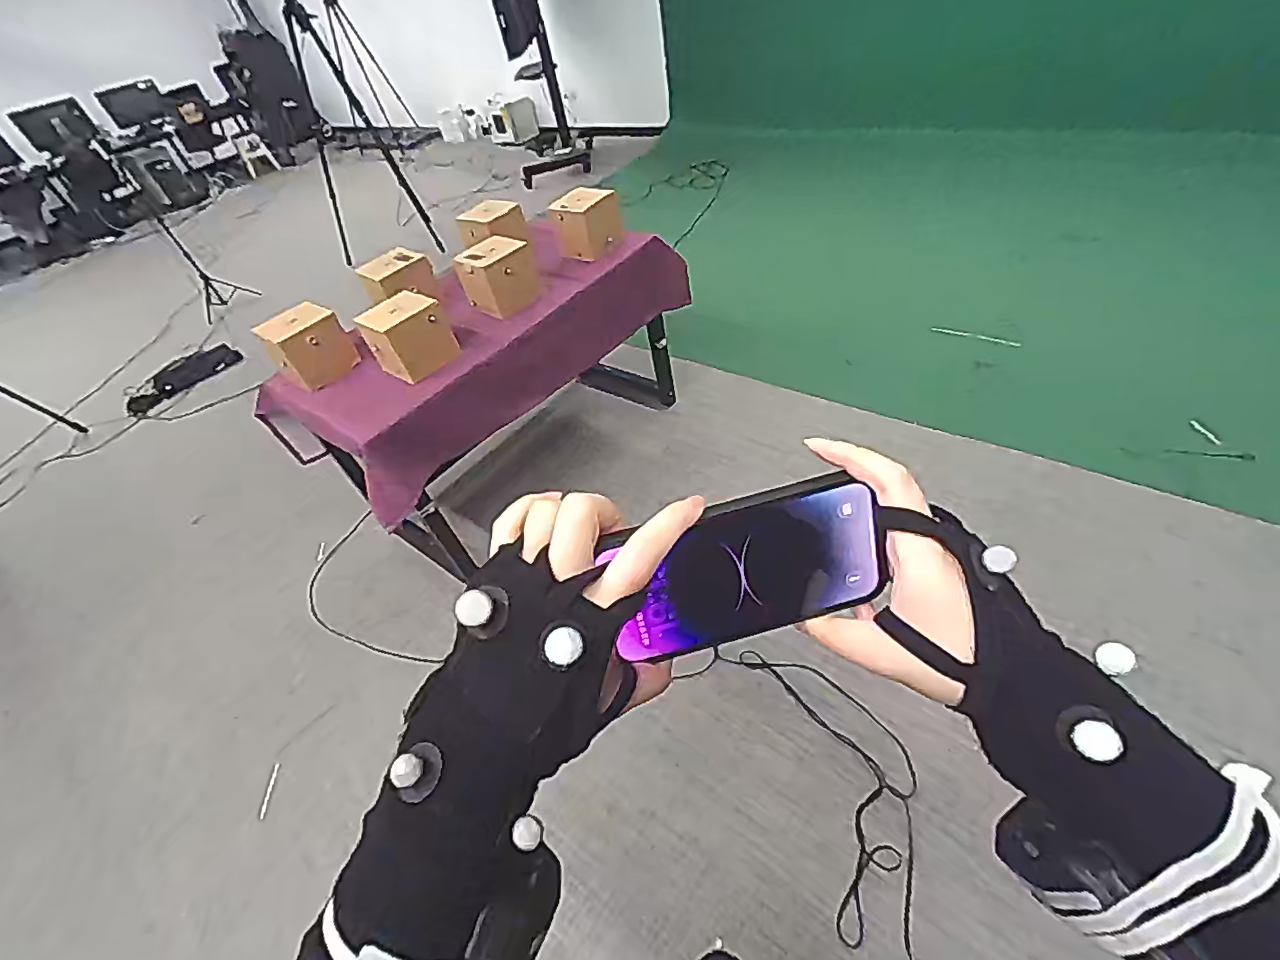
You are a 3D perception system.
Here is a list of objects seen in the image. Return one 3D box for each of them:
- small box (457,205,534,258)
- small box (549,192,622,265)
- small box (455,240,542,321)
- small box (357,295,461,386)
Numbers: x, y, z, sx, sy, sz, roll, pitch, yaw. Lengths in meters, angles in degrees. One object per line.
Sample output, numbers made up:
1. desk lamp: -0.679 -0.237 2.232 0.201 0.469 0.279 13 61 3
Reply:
1. small box: -0.512 -0.863 1.935 0.179 0.176 0.168 22 56 30
2. small box: -0.178 -0.860 1.848 0.168 0.176 0.179 23 55 32
3. small box: -0.431 -0.617 1.677 0.168 0.176 0.179 27 57 34
4. small box: -0.634 -0.386 1.504 0.168 0.176 0.179 25 56 33
